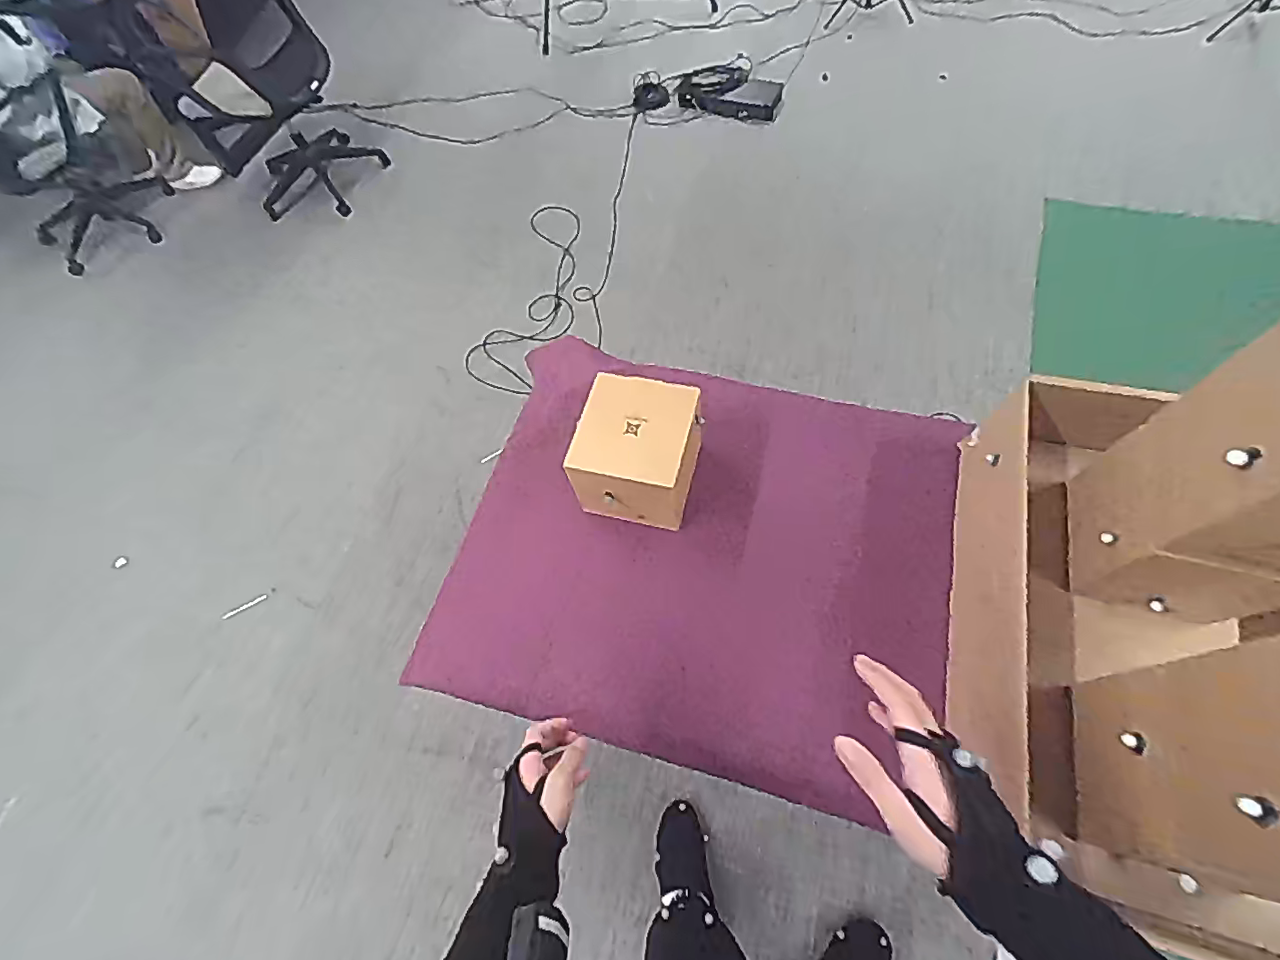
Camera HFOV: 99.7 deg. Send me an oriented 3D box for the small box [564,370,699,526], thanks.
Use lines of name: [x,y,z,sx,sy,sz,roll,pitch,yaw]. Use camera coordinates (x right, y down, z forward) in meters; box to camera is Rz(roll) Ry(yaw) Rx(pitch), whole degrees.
small box: [-0.002,-0.046,0.862,0.168,0.176,0.179,11,63,12]

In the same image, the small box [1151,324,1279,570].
small box: [0.653,-0.018,0.529,0.168,0.176,0.179,14,66,14]
